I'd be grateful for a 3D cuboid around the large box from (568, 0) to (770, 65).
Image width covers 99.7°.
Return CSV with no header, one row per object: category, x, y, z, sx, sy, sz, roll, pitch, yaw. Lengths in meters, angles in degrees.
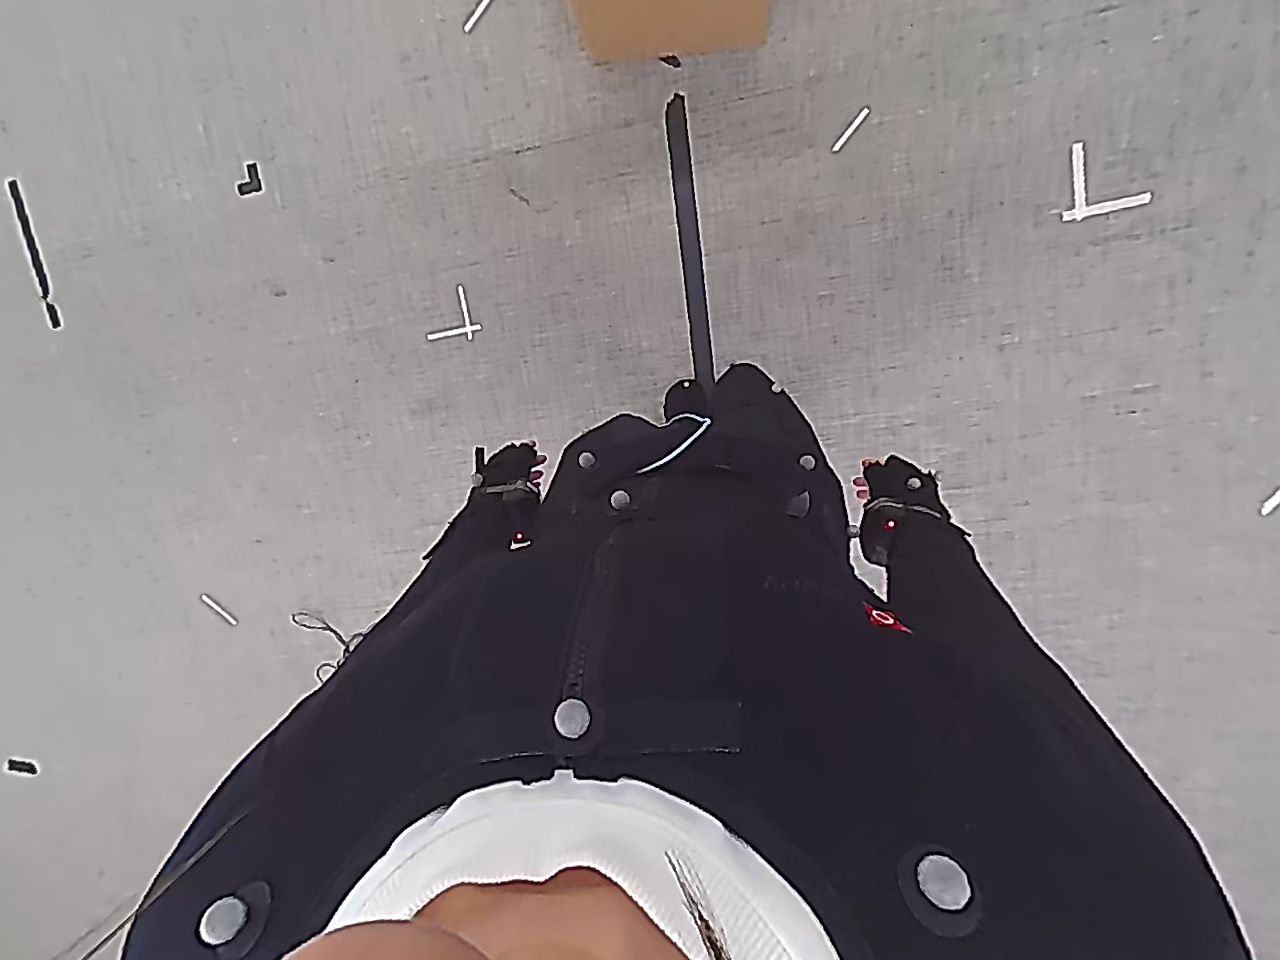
large box,0.054,-1.094,1.071,0.408,0.320,0.320,-1,103,6
